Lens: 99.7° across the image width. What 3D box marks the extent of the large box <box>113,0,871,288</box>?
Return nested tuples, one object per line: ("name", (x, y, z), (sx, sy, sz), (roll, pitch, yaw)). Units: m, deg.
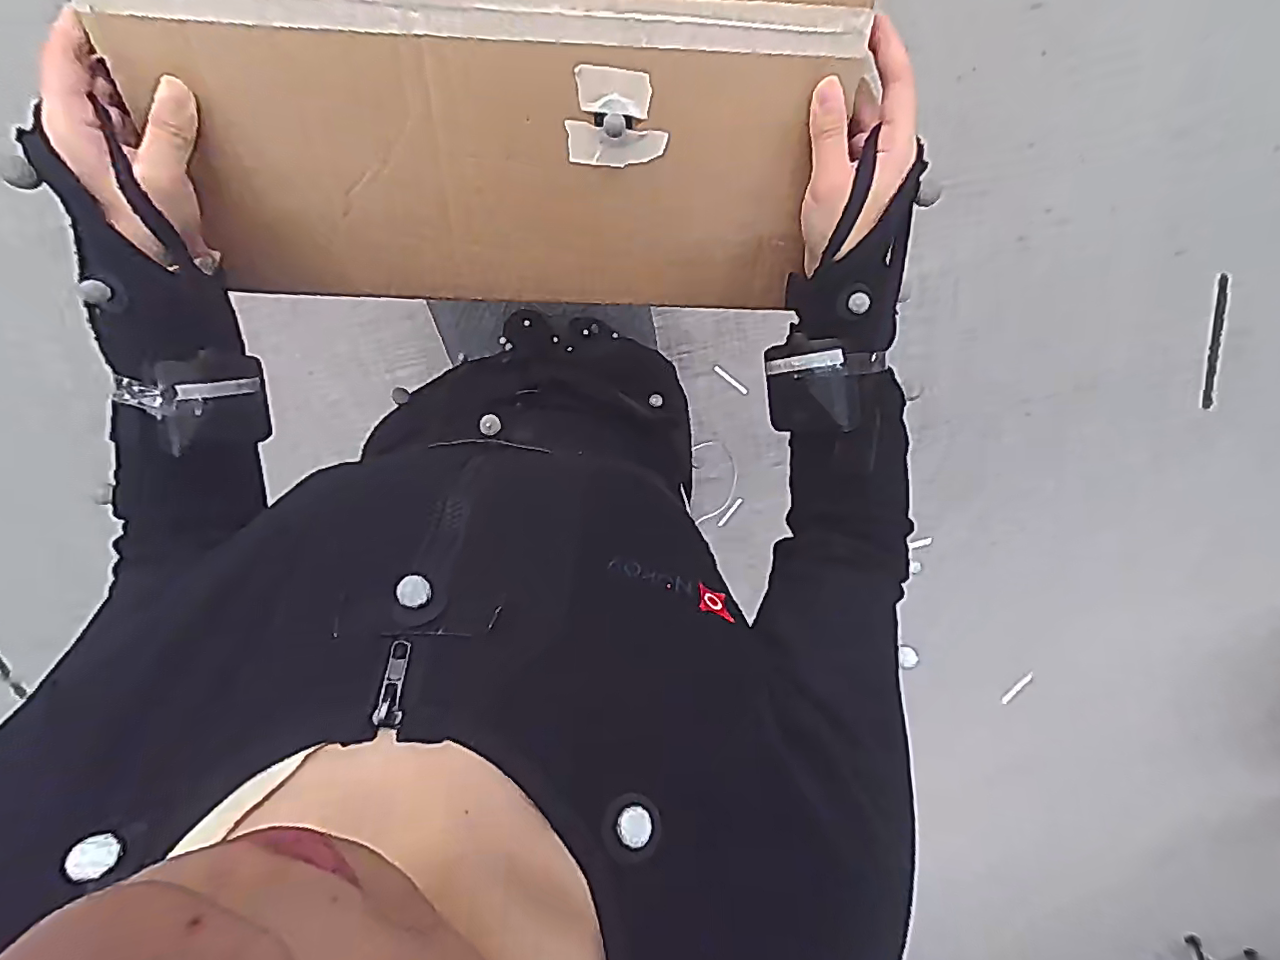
("large box", (-0.081, -0.353, 0.396), (0.408, 0.320, 0.320), (1, 132, -4))
